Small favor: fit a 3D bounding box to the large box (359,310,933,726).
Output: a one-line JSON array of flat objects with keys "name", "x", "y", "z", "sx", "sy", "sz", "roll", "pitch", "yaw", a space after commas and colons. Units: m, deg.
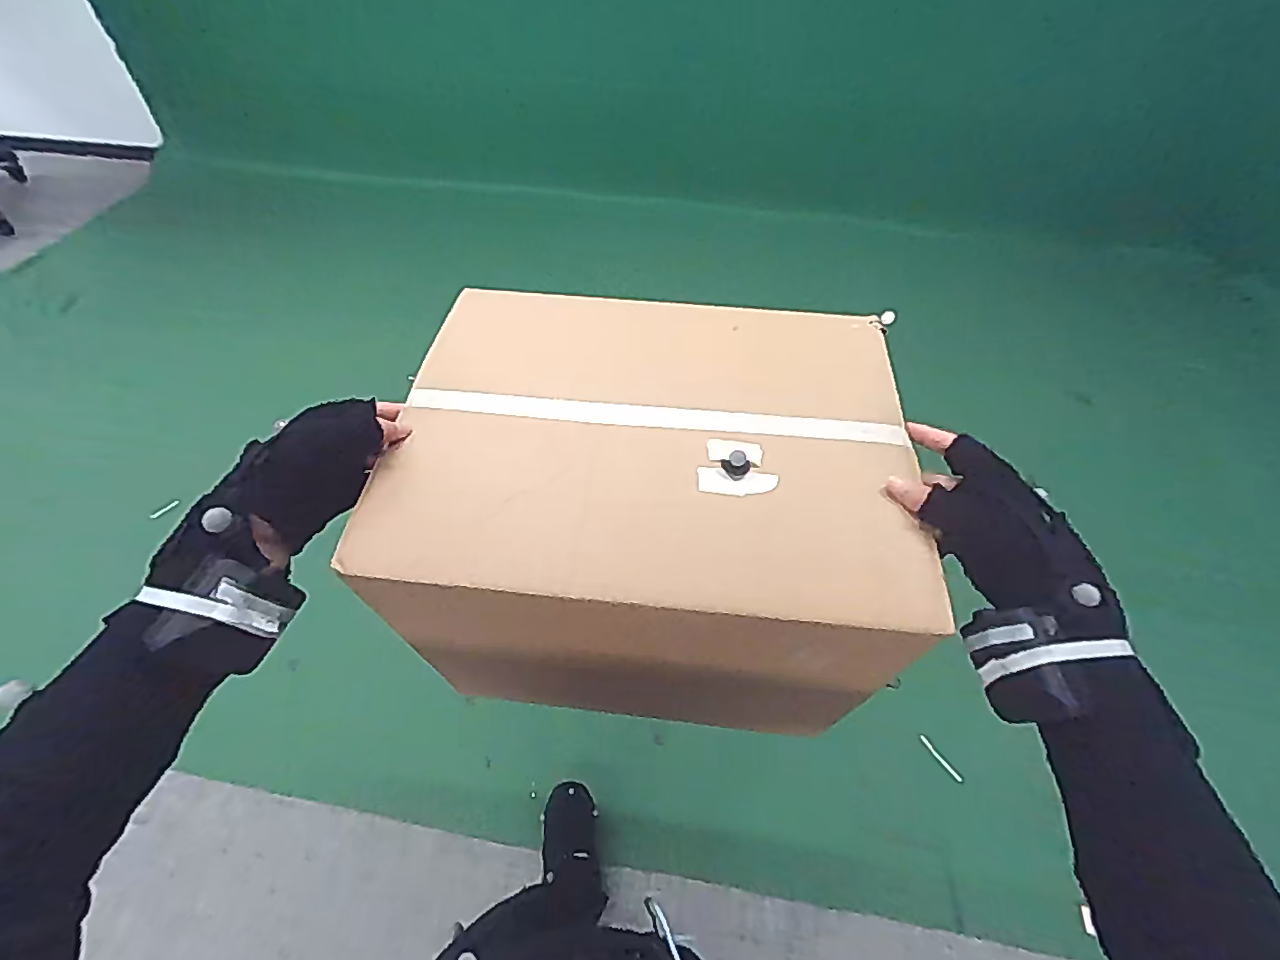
[{"name": "large box", "x": 0.010, "y": 0.049, "z": 0.573, "sx": 0.408, "sy": 0.320, "sz": 0.320, "roll": 5, "pitch": 54, "yaw": 4}]
